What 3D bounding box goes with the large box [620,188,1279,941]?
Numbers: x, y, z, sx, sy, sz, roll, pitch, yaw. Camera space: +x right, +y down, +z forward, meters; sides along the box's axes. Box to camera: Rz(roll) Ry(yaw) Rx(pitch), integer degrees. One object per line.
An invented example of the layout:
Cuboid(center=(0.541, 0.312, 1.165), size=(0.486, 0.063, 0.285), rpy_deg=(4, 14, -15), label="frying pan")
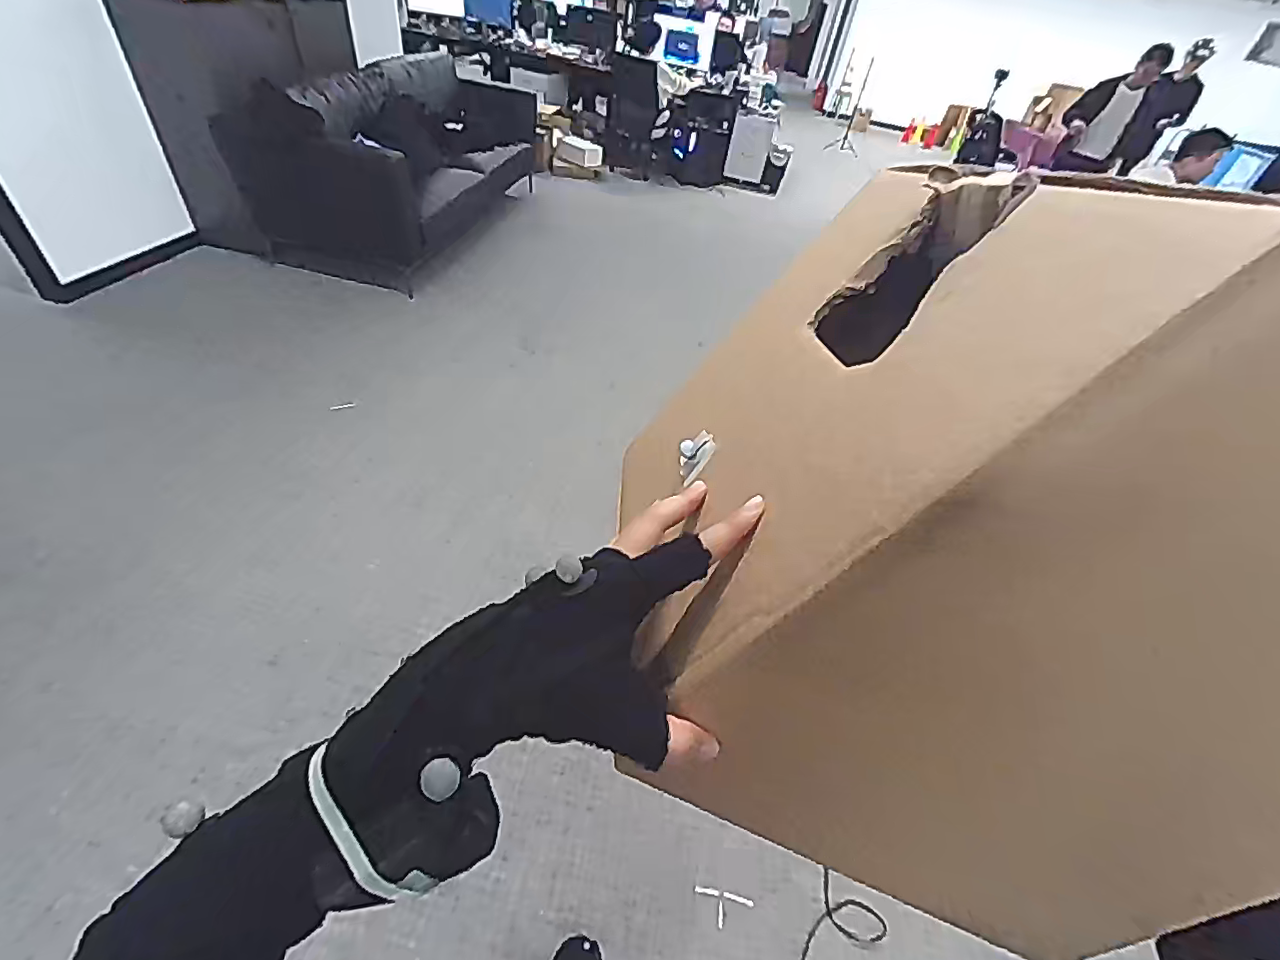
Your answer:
Cuboid(center=(0.231, 0.061, 0.402), size=(0.408, 0.320, 0.320), rpy_deg=(35, 26, -19), label="large box")
